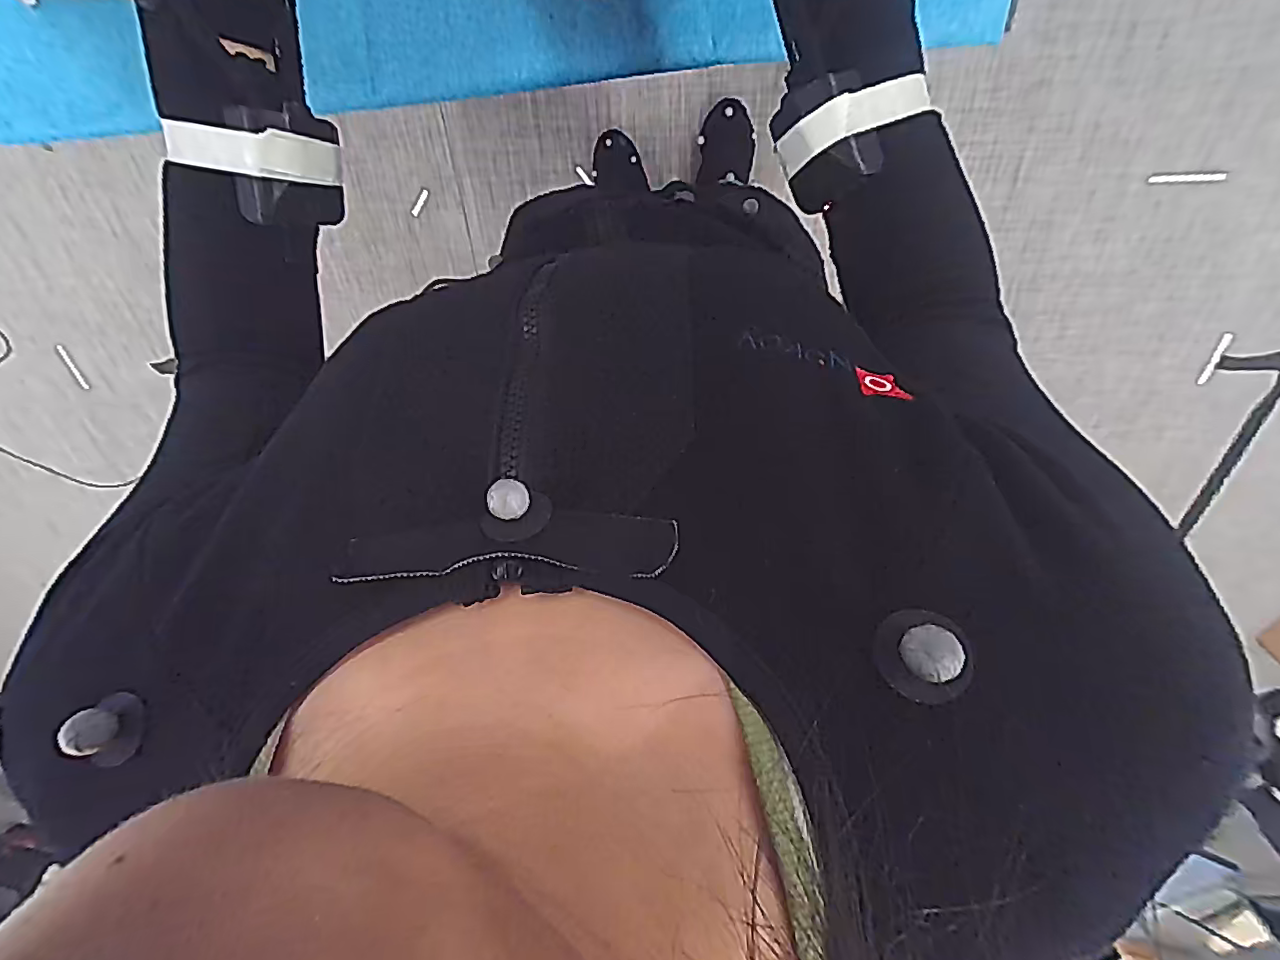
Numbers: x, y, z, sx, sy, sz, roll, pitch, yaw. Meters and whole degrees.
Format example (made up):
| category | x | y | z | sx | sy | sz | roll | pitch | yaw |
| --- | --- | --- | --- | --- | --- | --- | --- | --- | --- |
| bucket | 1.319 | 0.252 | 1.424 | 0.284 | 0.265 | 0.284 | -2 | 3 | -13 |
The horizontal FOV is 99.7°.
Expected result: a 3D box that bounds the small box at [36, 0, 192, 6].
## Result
| category | x | y | z | sx | sy | sz | roll | pitch | yaw |
| --- | --- | --- | --- | --- | --- | --- | --- | --- | --- |
| small box | -0.512 | -0.487 | 0.407 | 0.168 | 0.176 | 0.179 | 3 | 126 | 1 |
